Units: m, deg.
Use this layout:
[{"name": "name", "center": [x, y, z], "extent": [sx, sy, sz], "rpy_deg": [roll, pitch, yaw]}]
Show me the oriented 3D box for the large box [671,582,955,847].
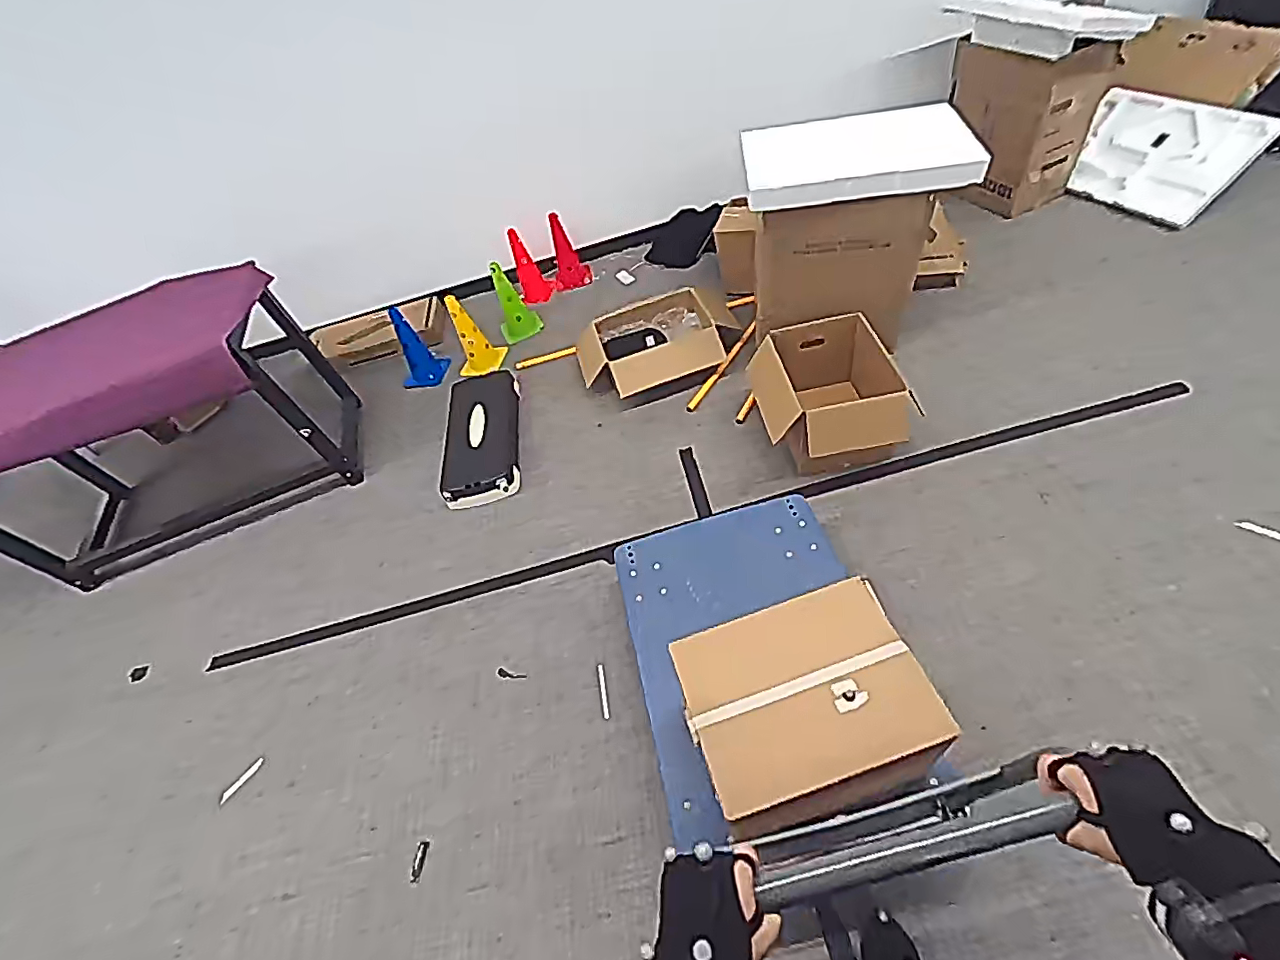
[{"name": "large box", "center": [0.313, 0.468, 1.074], "extent": [0.408, 0.320, 0.320], "rpy_deg": [-19, 50, -3]}]
